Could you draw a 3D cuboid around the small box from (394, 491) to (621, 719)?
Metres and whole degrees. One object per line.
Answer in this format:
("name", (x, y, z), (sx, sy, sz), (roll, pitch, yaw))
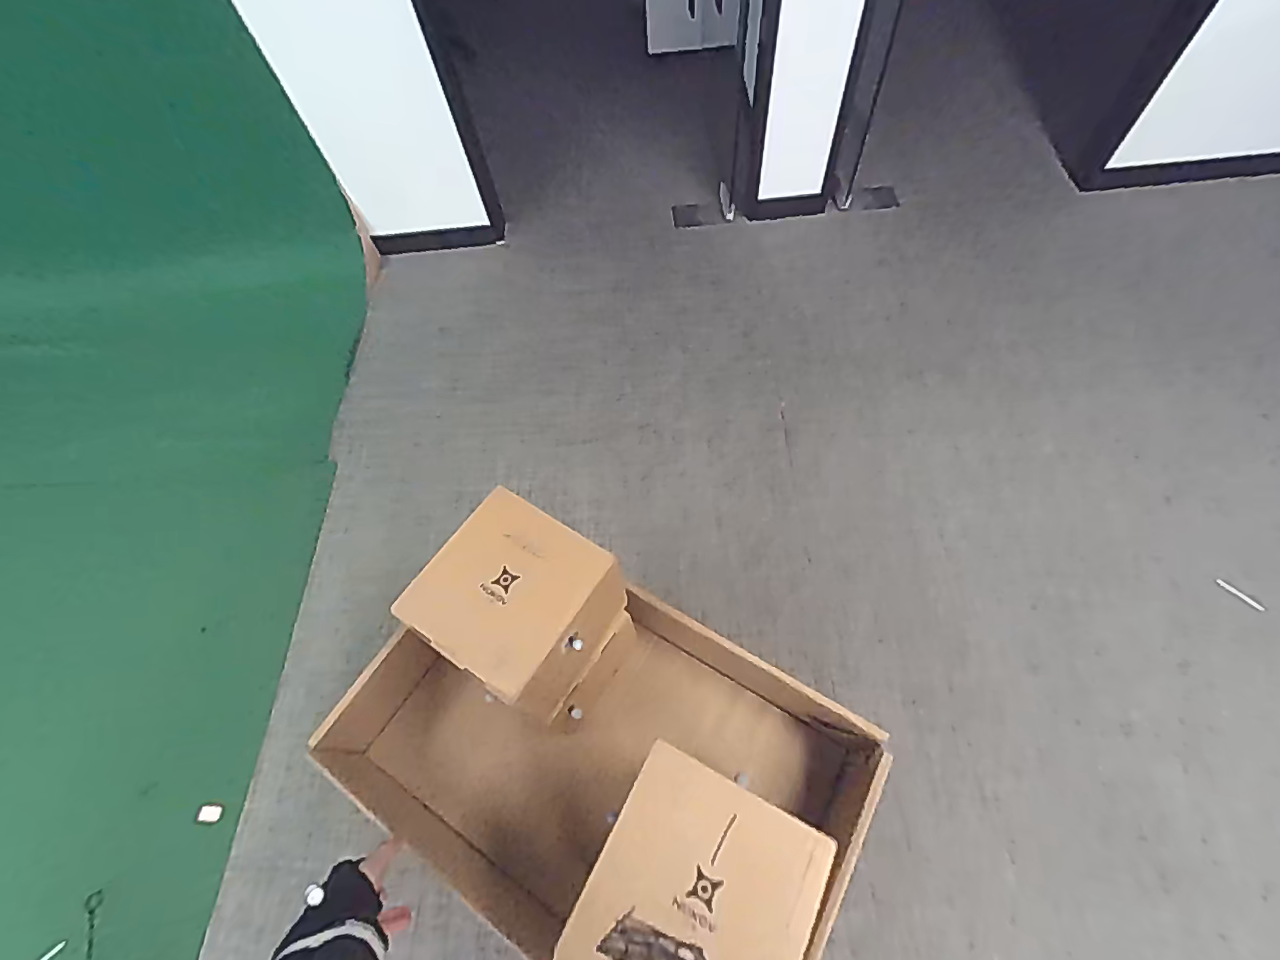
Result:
("small box", (-0.134, 0.151, 0.626), (0.168, 0.176, 0.179), (30, 66, 18))

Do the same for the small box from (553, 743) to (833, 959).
("small box", (0.050, 0.370, 0.489), (0.168, 0.176, 0.179), (25, 65, 16))
